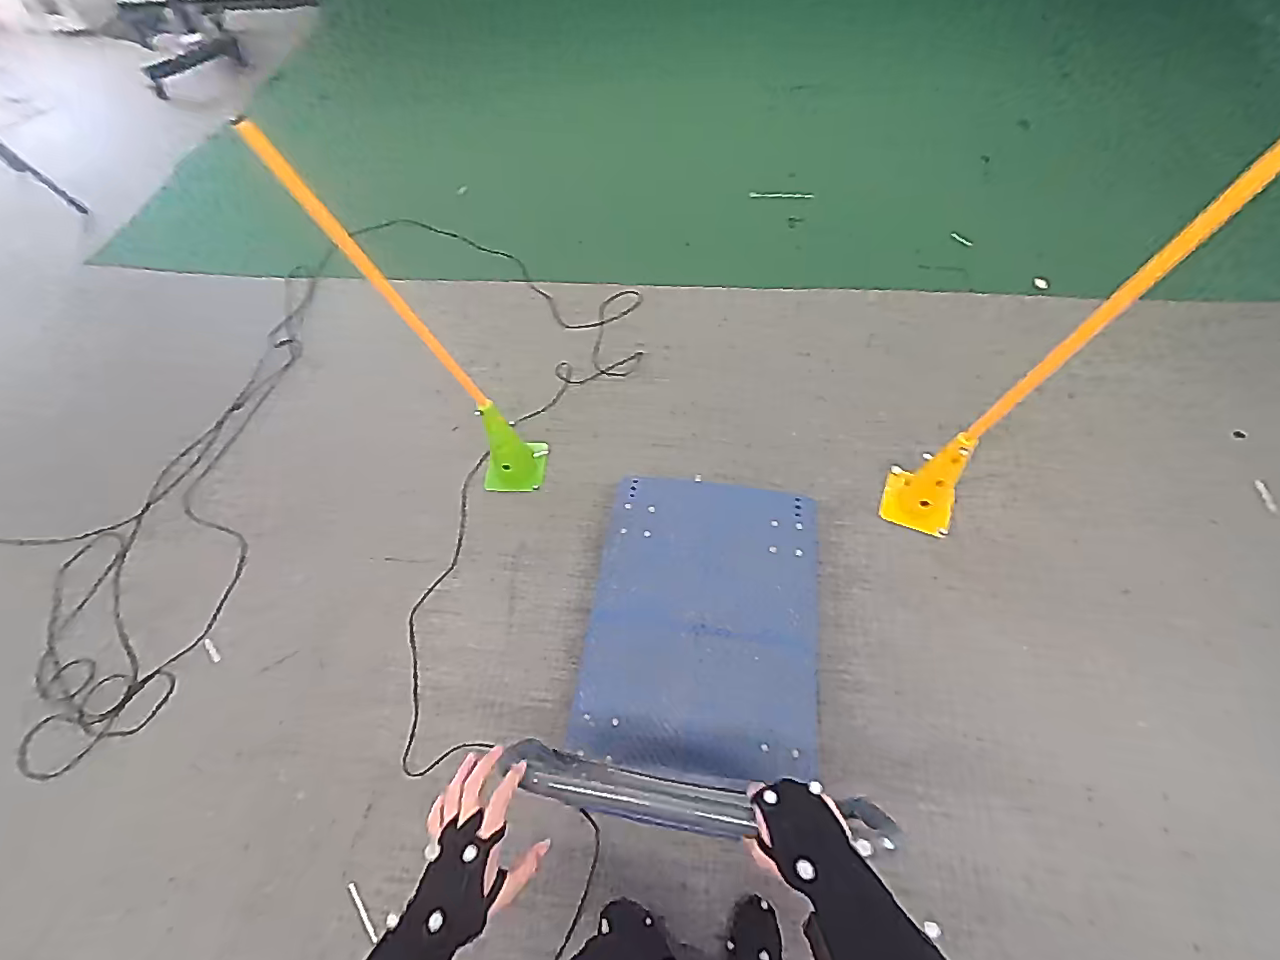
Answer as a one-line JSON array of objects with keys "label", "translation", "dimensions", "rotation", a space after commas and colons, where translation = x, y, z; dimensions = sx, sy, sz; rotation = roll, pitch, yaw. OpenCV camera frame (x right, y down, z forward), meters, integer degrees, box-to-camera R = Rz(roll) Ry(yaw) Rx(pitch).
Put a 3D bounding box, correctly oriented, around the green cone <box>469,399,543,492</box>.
[{"label": "green cone", "translation": [-0.457, -0.133, 1.728], "dimensions": [0.202, 0.368, 0.200], "rotation": [0, 59, 6]}]
